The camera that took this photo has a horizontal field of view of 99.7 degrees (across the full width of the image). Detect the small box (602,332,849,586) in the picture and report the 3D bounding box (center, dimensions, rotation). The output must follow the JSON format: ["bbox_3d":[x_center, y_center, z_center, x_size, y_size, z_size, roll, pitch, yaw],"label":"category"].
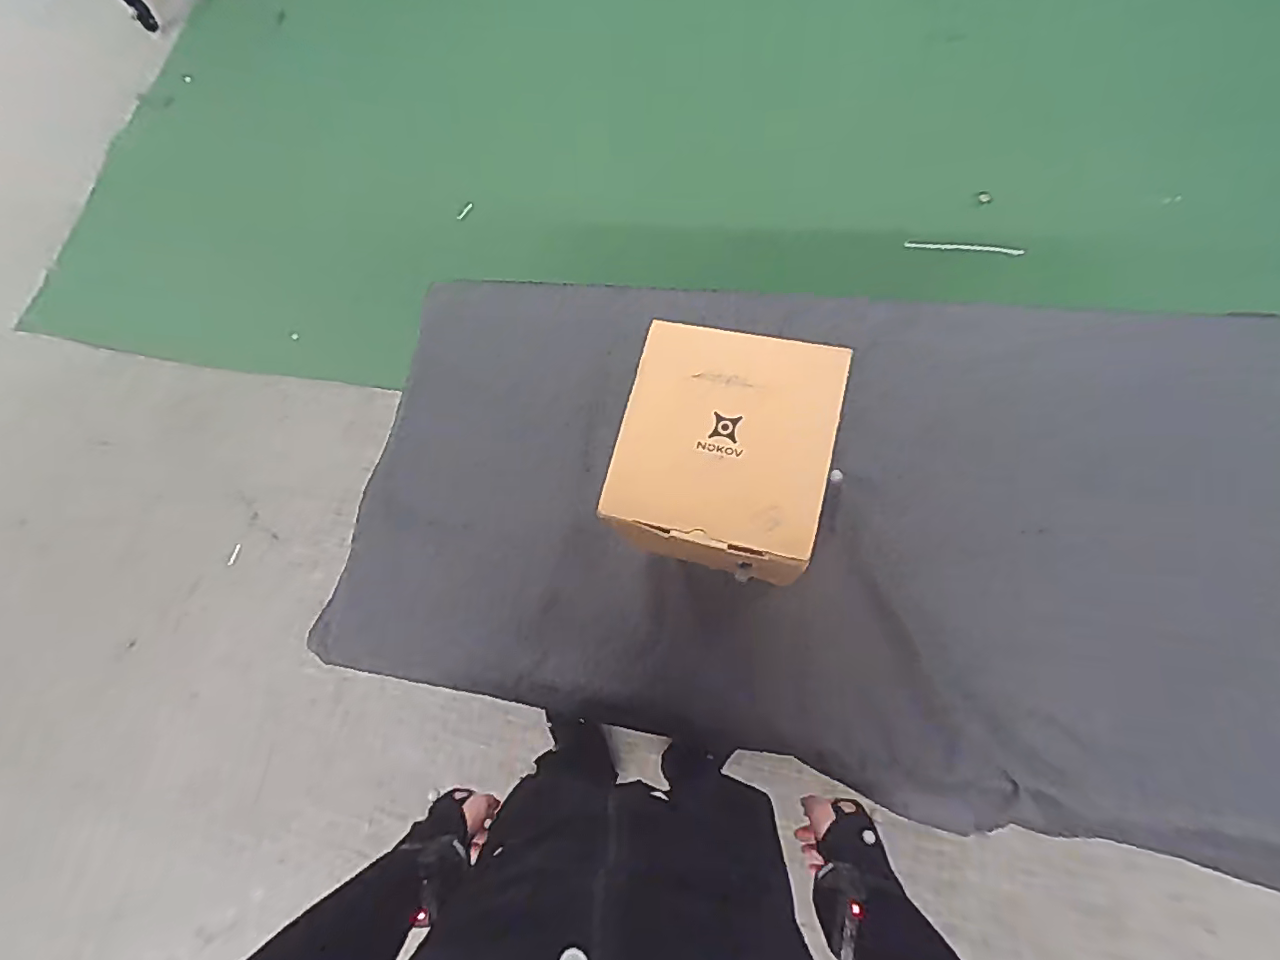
[{"bbox_3d":[0.080,-0.008,0.501,0.168,0.176,0.179,12,76,12],"label":"small box"}]
